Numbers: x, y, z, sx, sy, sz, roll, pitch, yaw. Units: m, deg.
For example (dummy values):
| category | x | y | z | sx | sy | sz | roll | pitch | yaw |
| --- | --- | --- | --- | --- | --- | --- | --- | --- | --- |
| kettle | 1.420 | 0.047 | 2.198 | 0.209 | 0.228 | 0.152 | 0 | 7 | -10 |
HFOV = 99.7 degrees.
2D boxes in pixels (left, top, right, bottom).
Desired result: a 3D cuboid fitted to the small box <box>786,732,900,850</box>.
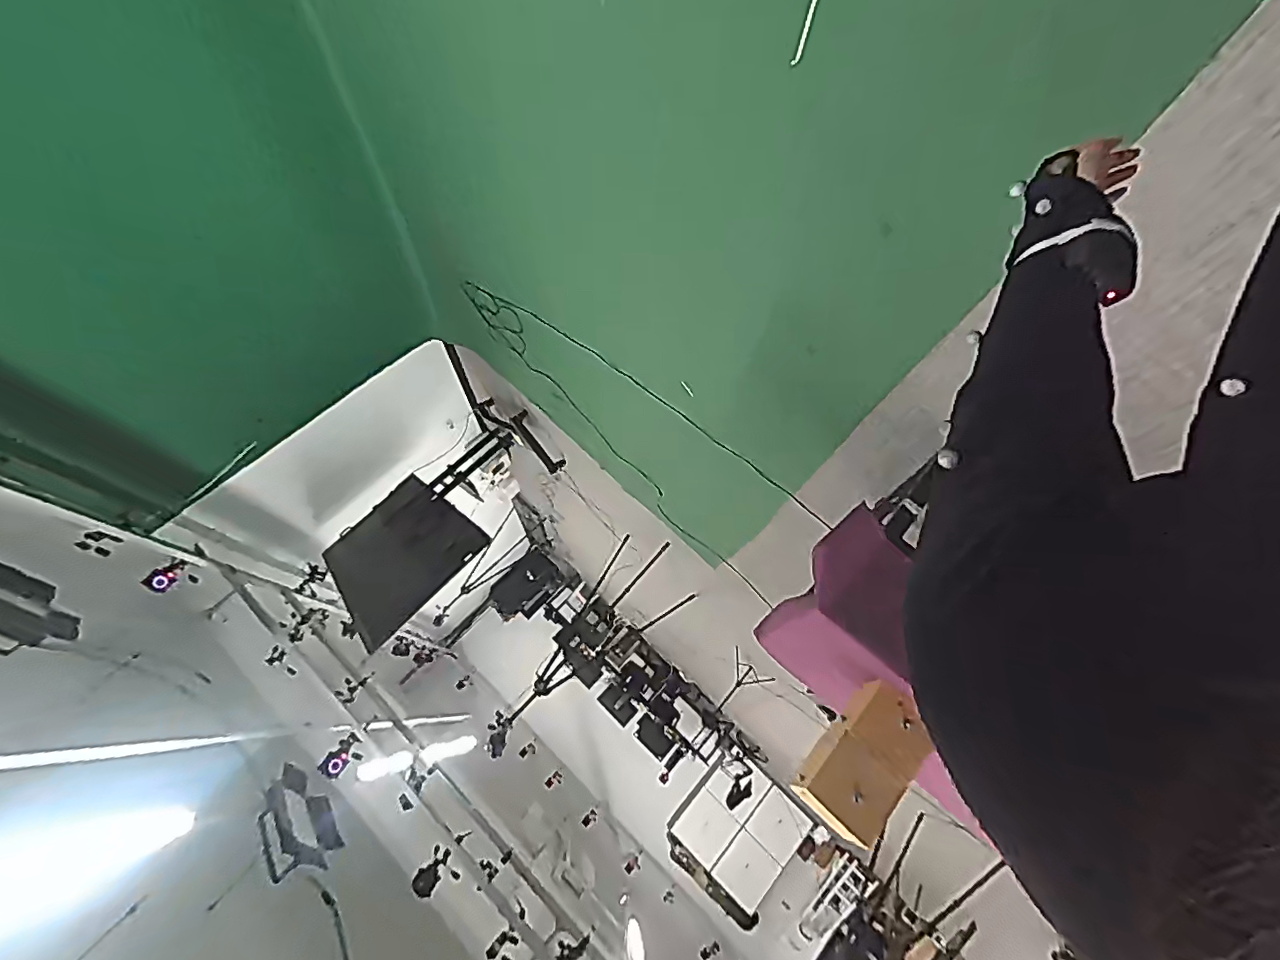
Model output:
| category | x | y | z | sx | sy | sz | roll | pitch | yaw |
| --- | --- | --- | --- | --- | --- | --- | --- | --- | --- |
| small box | 0.489 | 0.740 | 1.306 | 0.179 | 0.176 | 0.168 | 39 | 159 | 17 |

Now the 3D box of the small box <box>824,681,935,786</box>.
| category | x | y | z | sx | sy | sz | roll | pitch | yaw |
| --- | --- | --- | --- | --- | --- | --- | --- | --- | --- |
| small box | 0.601 | 0.635 | 1.364 | 0.168 | 0.176 | 0.179 | 40 | 159 | 17 |
